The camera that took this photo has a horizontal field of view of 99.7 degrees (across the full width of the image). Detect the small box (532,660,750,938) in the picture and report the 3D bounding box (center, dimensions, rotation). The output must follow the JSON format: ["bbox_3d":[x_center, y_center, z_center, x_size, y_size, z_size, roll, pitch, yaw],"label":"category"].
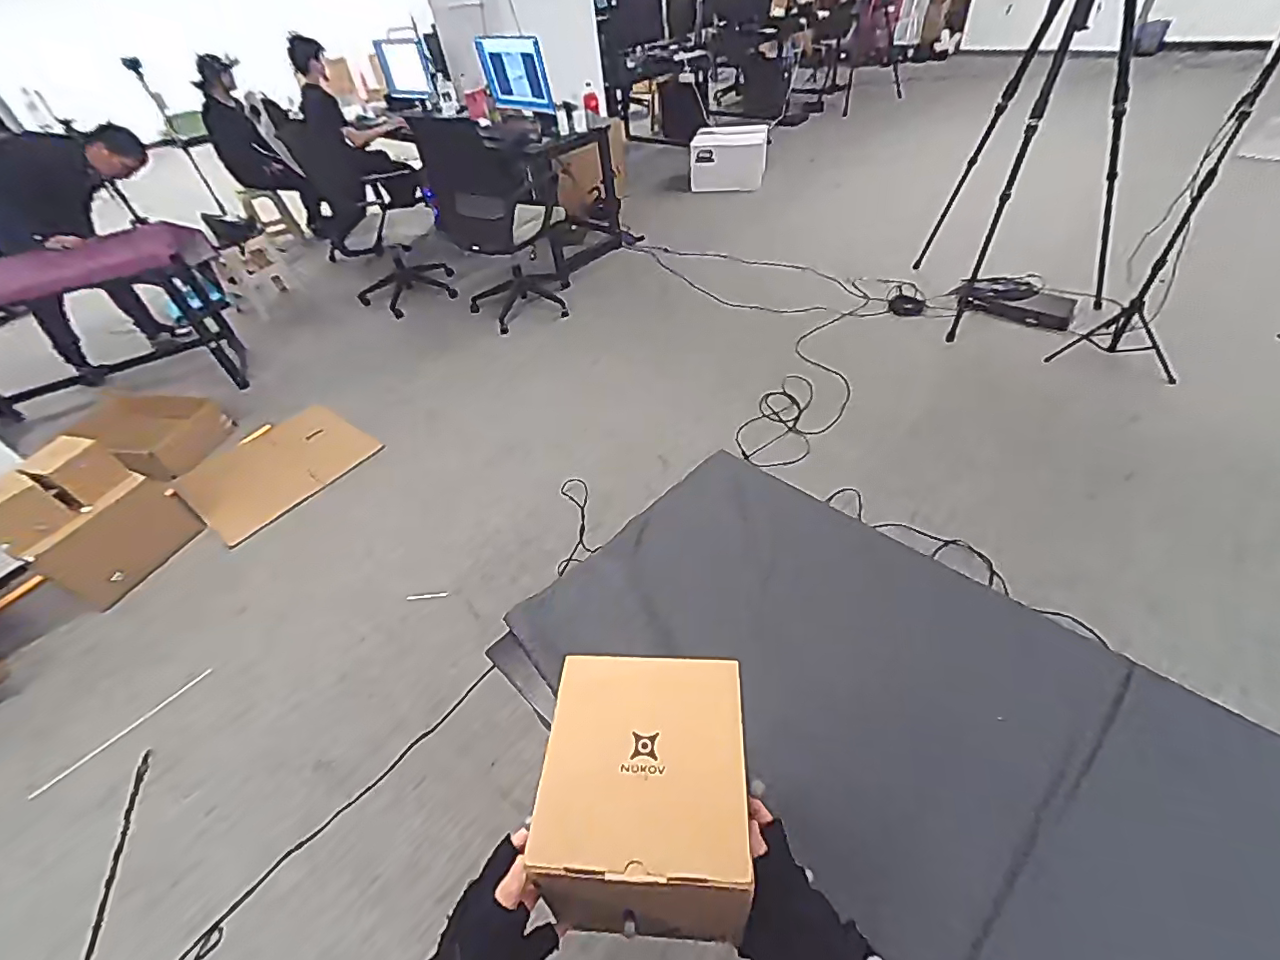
[{"bbox_3d":[0.010,0.295,0.509,0.168,0.176,0.179,0,41,6],"label":"small box"}]
